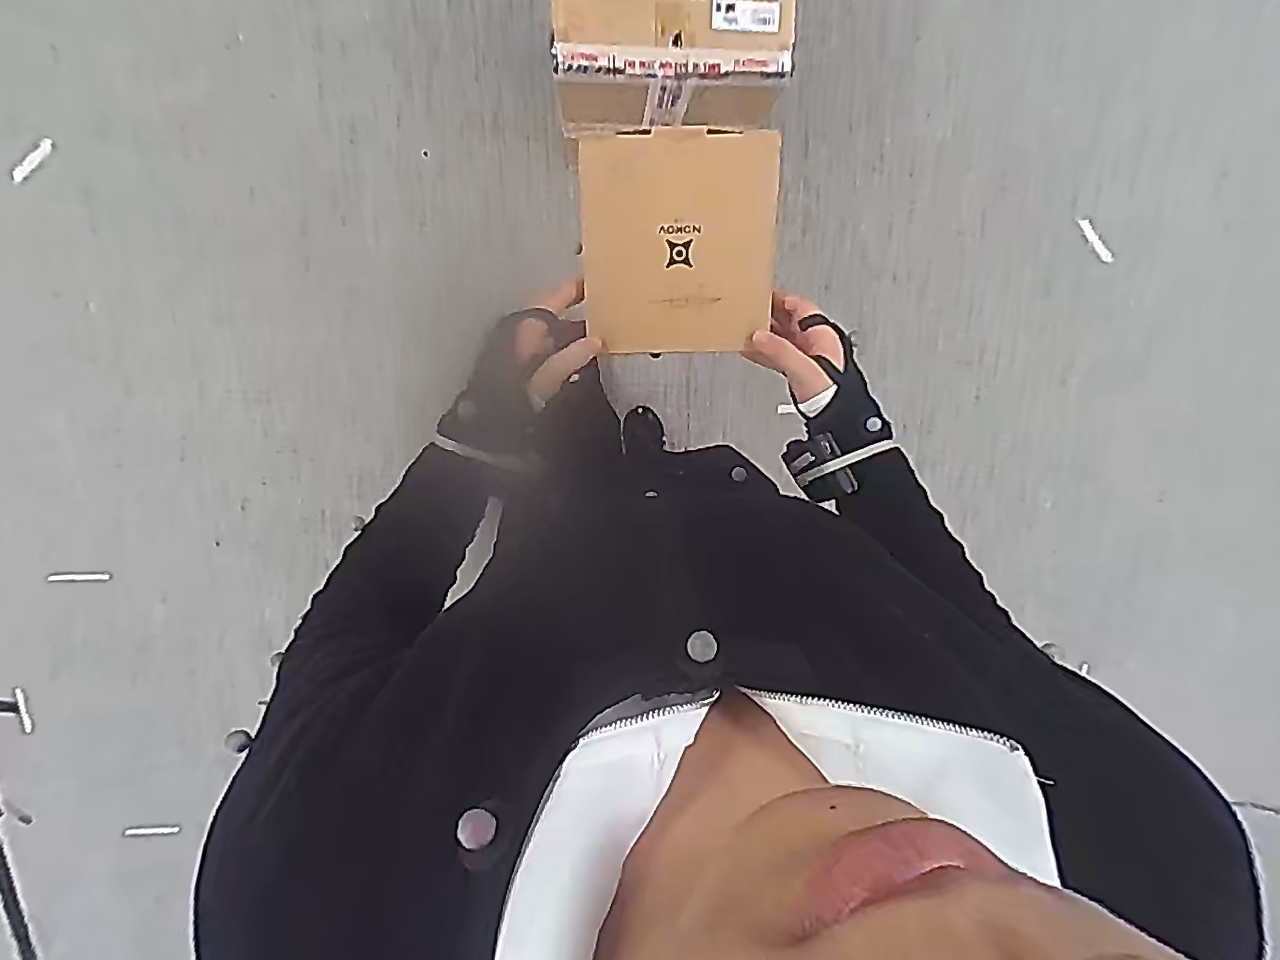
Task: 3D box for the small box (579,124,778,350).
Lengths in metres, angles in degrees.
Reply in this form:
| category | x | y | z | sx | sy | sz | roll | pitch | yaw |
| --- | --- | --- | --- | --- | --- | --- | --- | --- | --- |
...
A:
| category | x | y | z | sx | sy | sz | roll | pitch | yaw |
| --- | --- | --- | --- | --- | --- | --- | --- | --- | --- |
| small box | 0.030 | -0.227 | 0.536 | 0.168 | 0.176 | 0.179 | -2 | 110 | -1 |
